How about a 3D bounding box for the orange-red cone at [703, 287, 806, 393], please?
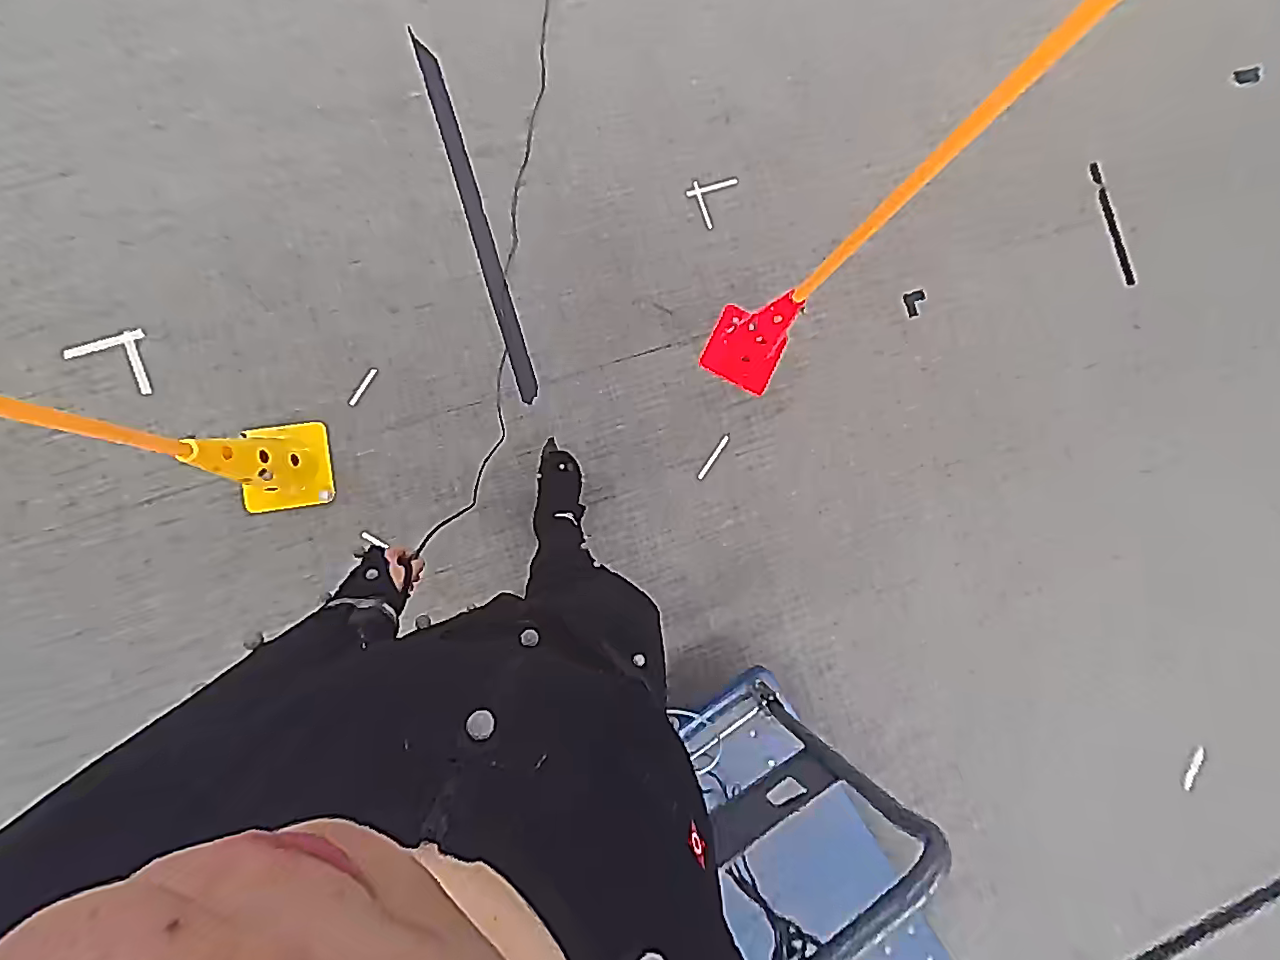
[{"bbox_3d":[0.308,-0.367,1.291,0.198,0.360,0.199,28,84,-4],"label":"orange-red cone"}]
